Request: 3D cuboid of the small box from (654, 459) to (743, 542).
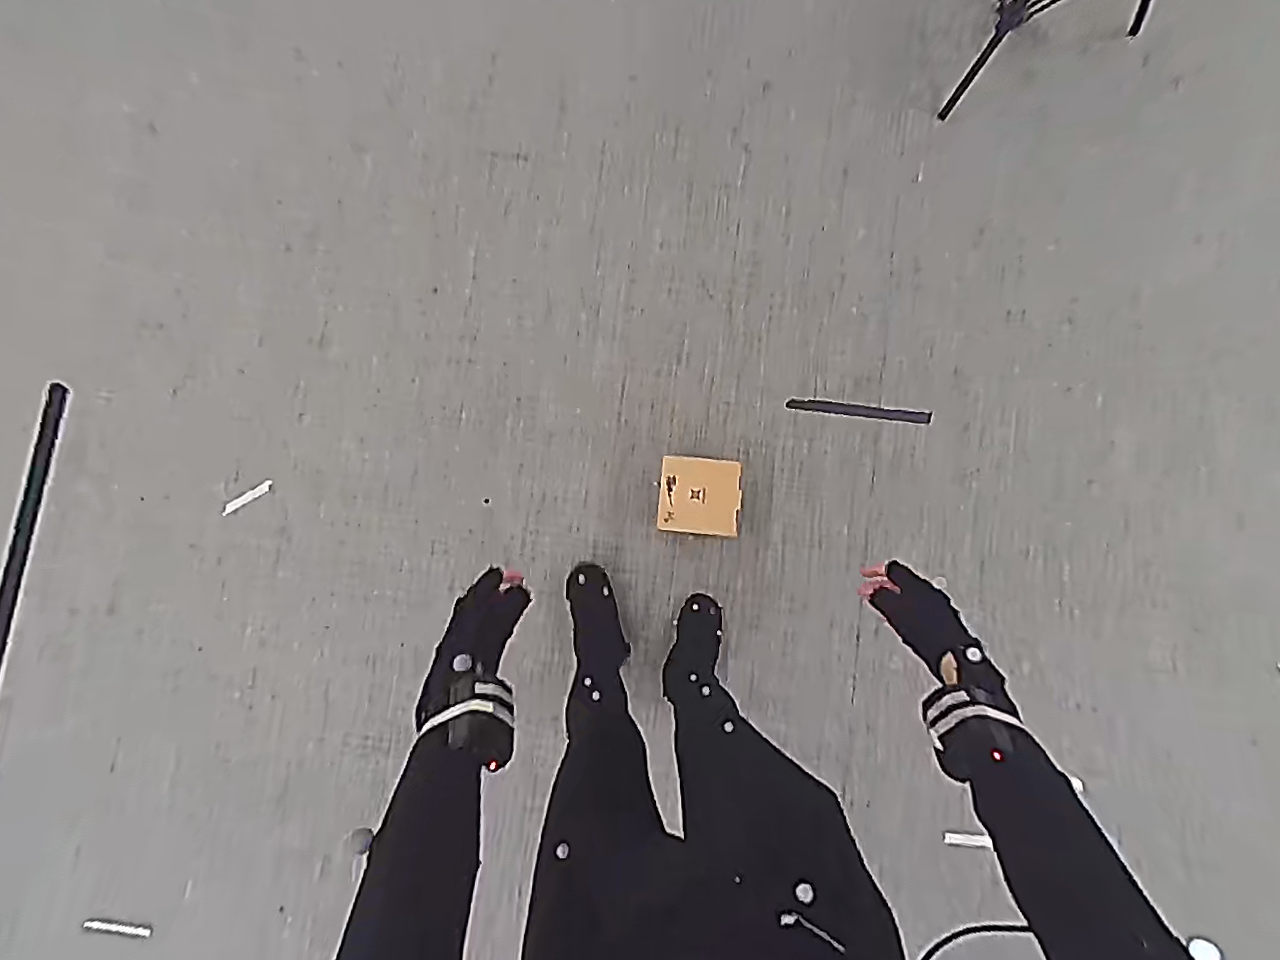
[{"bbox_3d":[0.130,0.050,1.256,0.179,0.176,0.168,6,85,0],"label":"small box"}]
